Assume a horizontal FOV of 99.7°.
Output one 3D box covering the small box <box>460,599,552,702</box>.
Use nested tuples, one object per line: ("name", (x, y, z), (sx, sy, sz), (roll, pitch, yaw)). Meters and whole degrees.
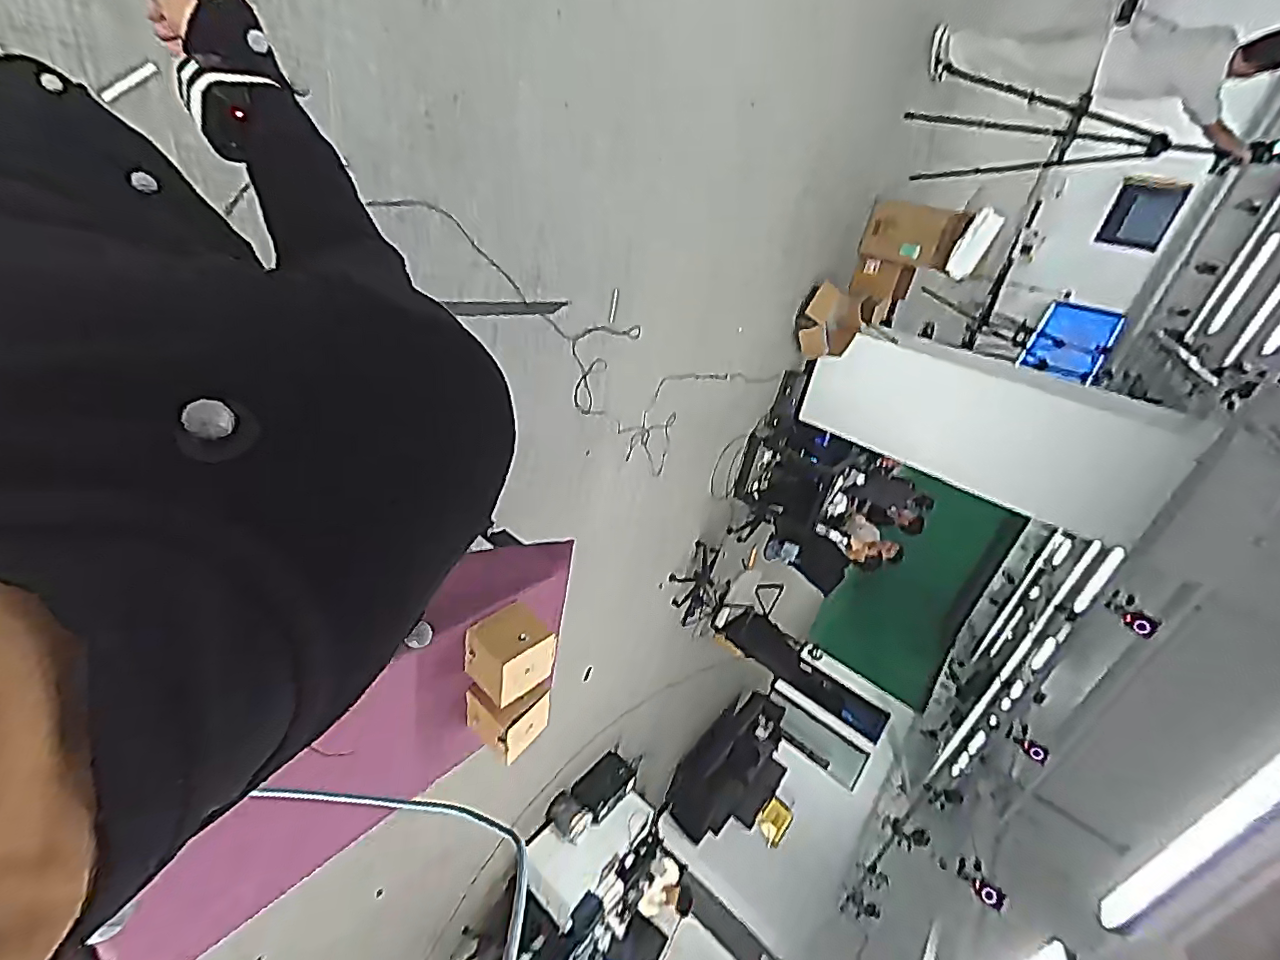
("small box", (-0.369, 0.459, 1.488), (0.179, 0.176, 0.168), (-24, 134, -47))

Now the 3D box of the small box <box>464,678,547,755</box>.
("small box", (-0.403, 0.664, 1.613), (0.179, 0.176, 0.168), (-26, 135, -45))
